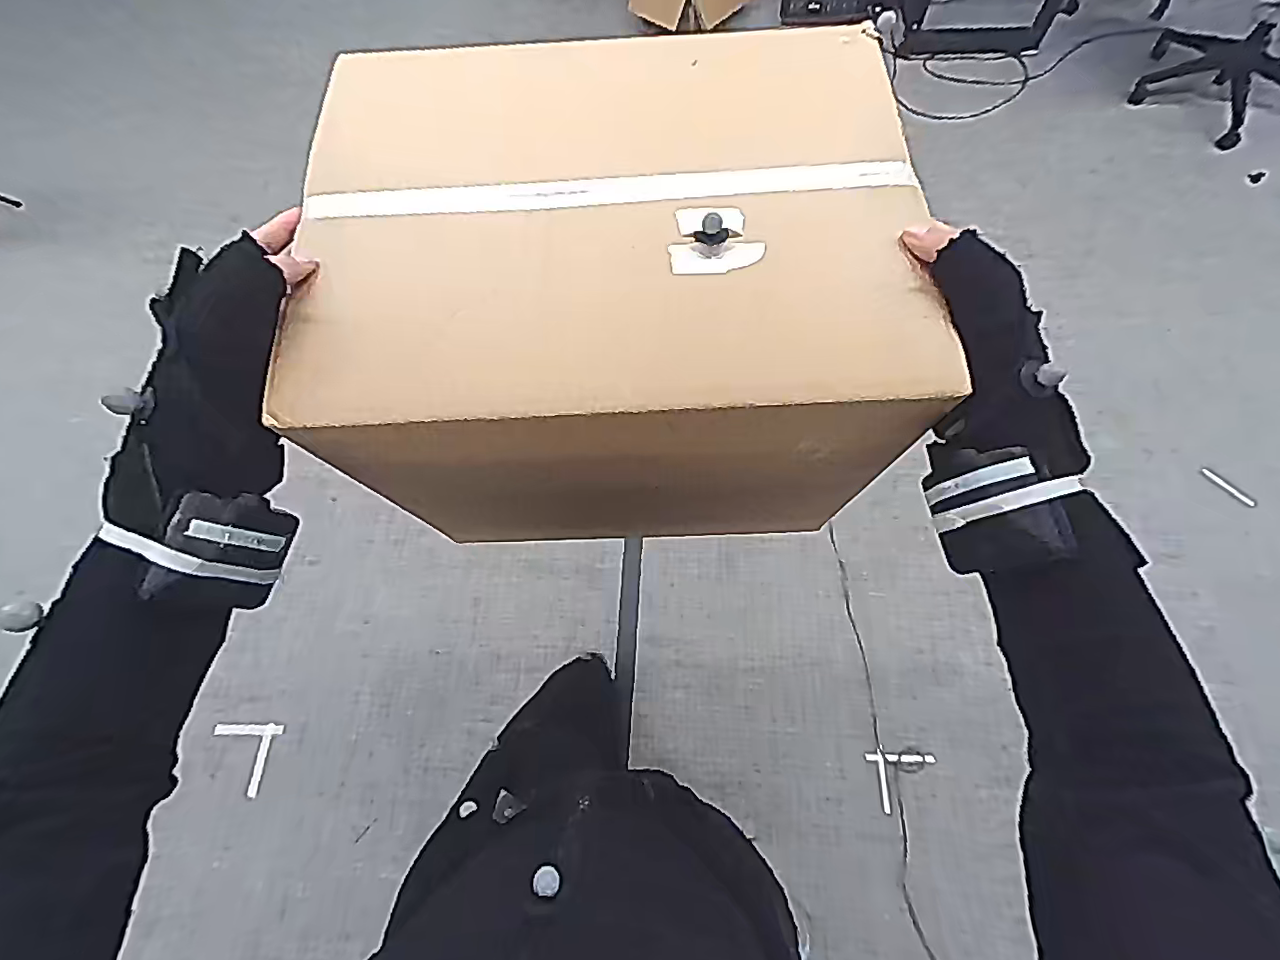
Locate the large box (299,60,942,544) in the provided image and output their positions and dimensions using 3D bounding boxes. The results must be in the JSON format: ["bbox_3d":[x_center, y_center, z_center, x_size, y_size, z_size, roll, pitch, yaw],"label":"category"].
[{"bbox_3d":[-0.016,-0.131,0.520,0.408,0.320,0.320,-2,70,1],"label":"large box"}]
